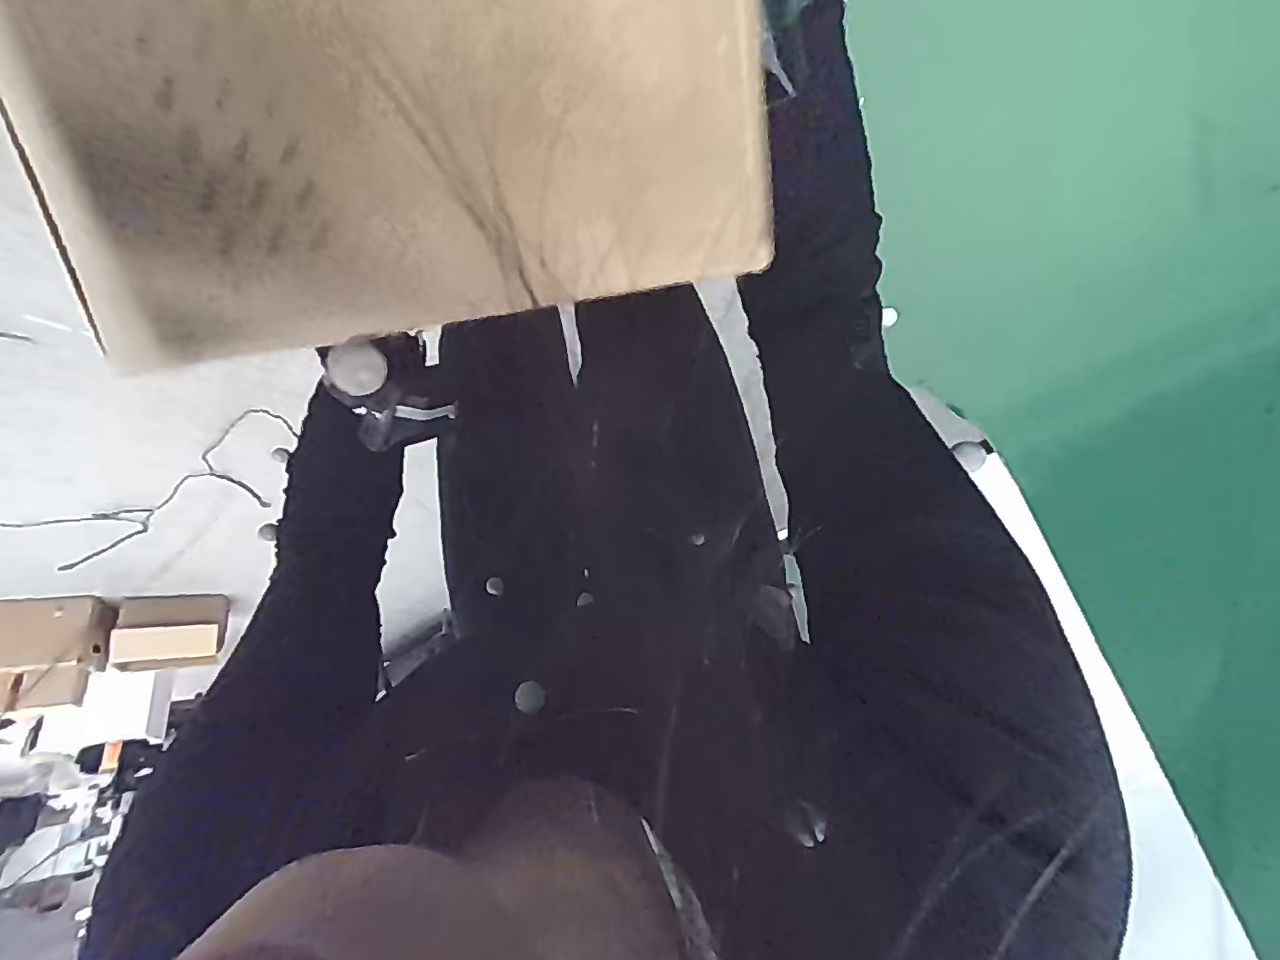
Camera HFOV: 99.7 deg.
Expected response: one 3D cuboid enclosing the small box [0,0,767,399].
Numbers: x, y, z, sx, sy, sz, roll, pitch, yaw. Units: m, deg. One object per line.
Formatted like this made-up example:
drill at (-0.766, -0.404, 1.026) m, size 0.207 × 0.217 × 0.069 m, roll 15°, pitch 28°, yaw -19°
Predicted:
small box at (-0.082, -0.133, 0.160) m, size 0.168 × 0.179 × 0.176 m, roll 13°, pitch -150°, yaw 43°
